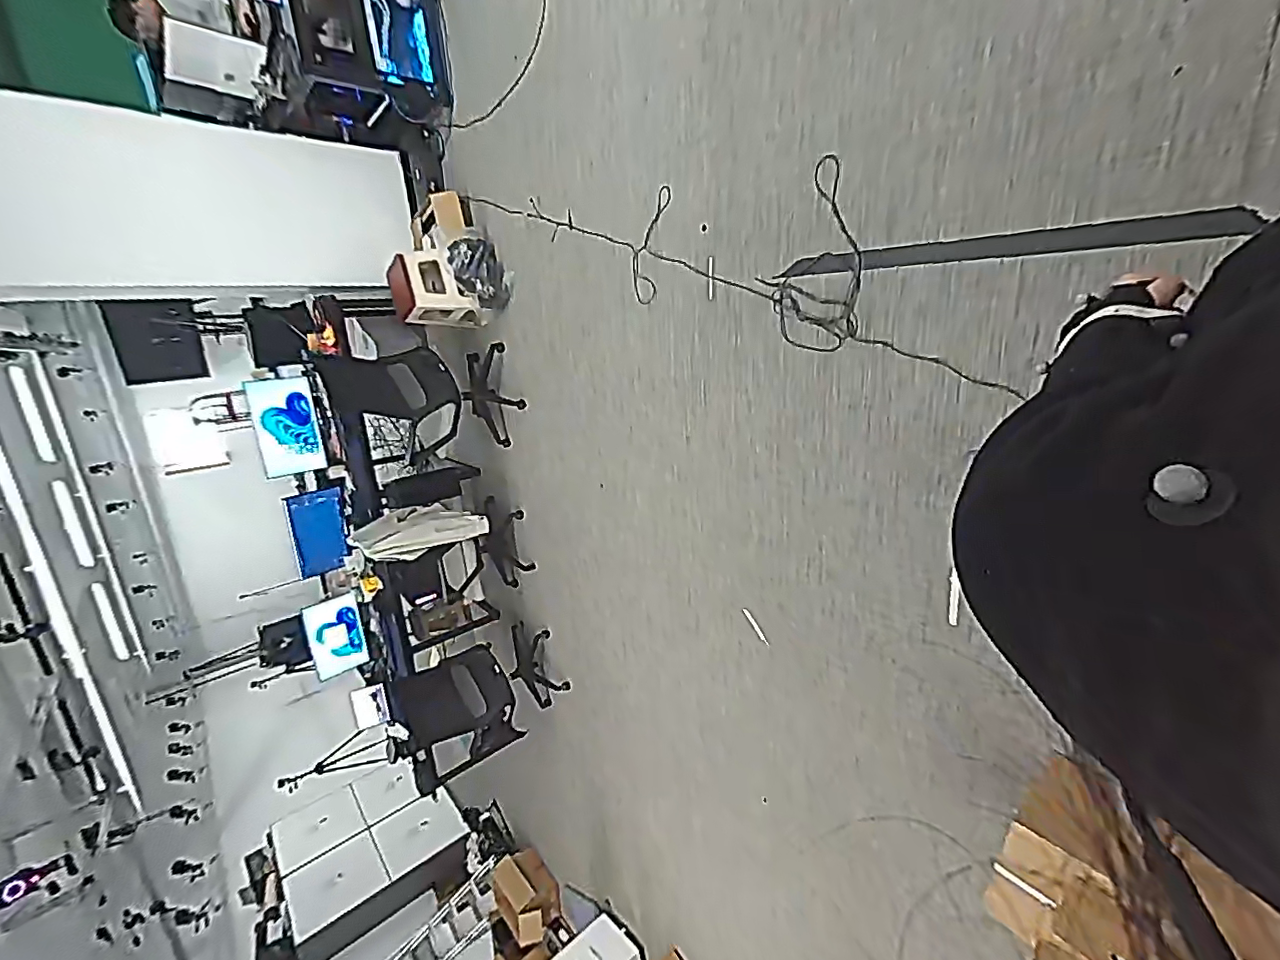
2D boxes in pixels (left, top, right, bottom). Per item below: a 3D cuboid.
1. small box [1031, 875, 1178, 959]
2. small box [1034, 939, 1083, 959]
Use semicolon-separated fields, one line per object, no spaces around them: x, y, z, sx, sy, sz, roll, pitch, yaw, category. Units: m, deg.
0.923;0.953;1.079;0.179;0.176;0.168;26;123;44;small box
0.804;1.007;0.981;0.168;0.176;0.179;5;109;51;small box
